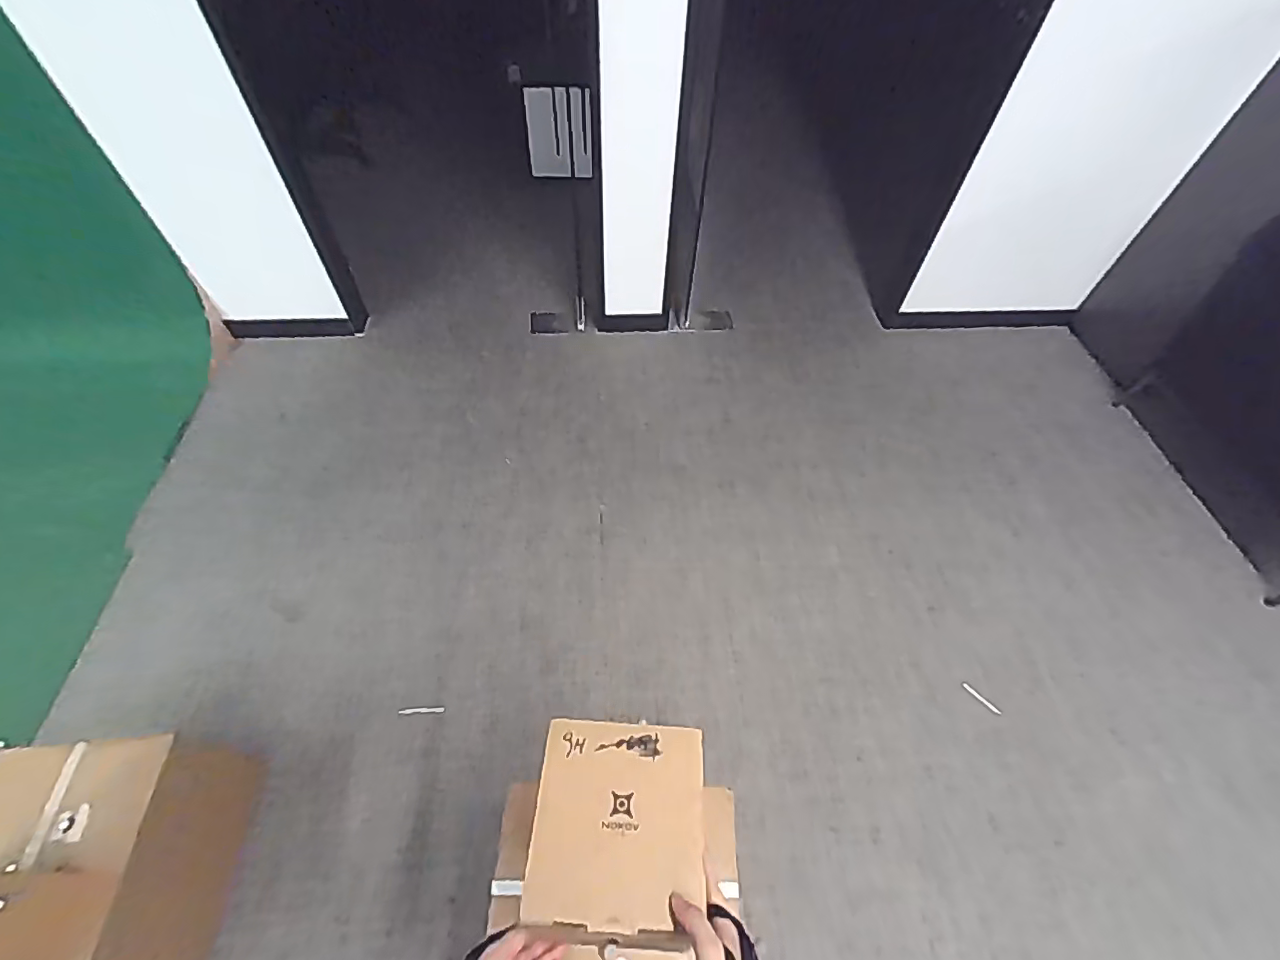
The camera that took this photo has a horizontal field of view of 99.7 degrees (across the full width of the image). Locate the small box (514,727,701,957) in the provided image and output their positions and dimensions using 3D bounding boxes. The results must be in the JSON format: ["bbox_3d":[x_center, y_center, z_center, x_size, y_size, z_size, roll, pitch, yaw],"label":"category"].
[{"bbox_3d":[-0.025,0.389,0.579,0.168,0.176,0.179,5,46,0],"label":"small box"}]

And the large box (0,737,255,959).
[{"bbox_3d":[-1.003,0.735,0.990,0.320,0.320,0.408,-2,52,-5],"label":"large box"}]

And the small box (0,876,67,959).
[{"bbox_3d":[-0.974,0.657,0.744,0.168,0.176,0.179,-1,52,-4],"label":"small box"}]
